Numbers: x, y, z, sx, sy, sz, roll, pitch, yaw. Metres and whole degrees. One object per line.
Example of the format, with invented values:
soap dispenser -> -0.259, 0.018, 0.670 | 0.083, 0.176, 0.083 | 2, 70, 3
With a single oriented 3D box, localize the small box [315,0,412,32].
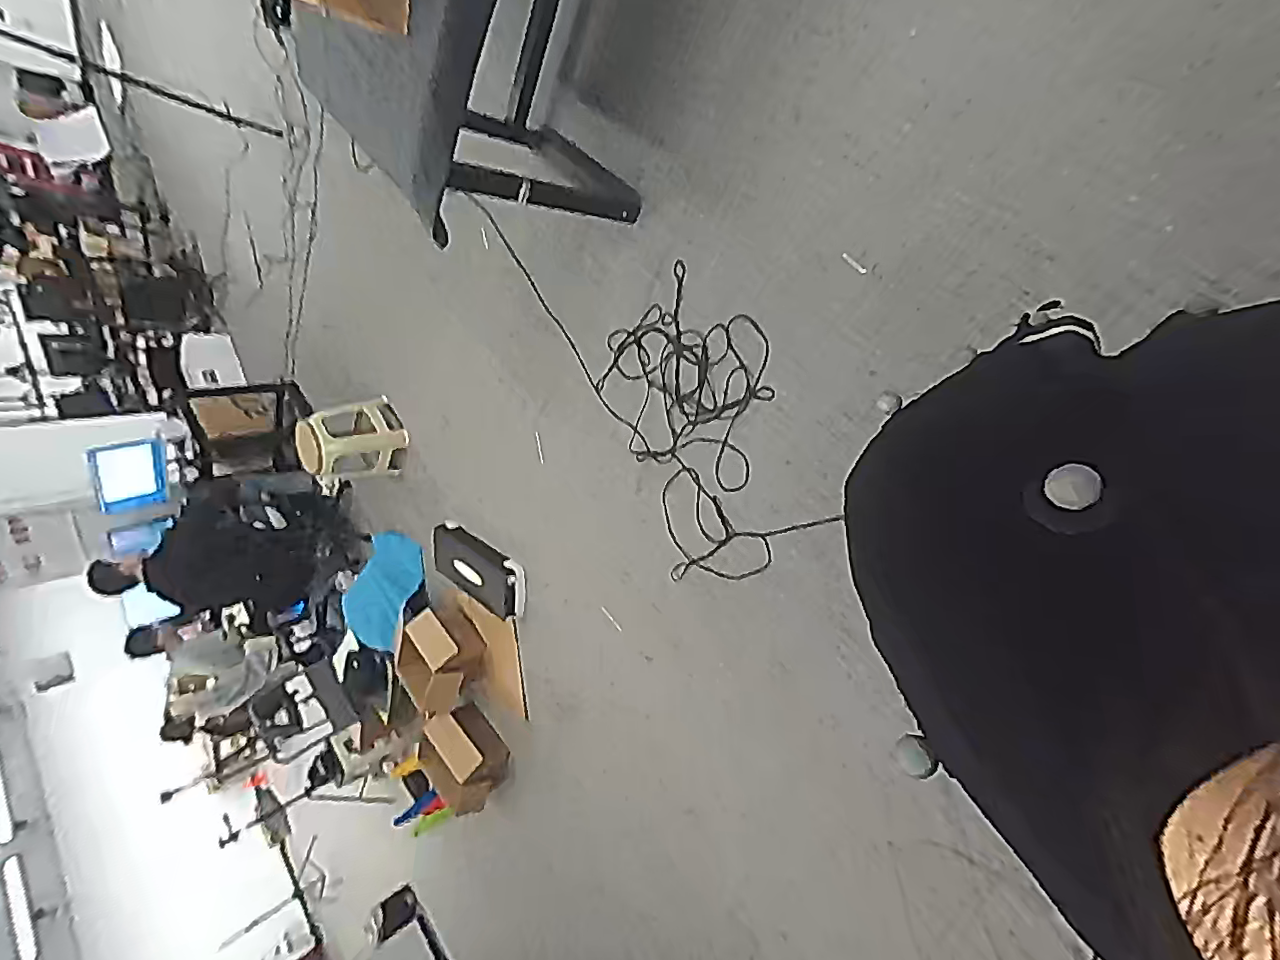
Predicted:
small box -> -0.540, -0.970, 1.005 | 0.179, 0.176, 0.168 | 37, 124, 29
